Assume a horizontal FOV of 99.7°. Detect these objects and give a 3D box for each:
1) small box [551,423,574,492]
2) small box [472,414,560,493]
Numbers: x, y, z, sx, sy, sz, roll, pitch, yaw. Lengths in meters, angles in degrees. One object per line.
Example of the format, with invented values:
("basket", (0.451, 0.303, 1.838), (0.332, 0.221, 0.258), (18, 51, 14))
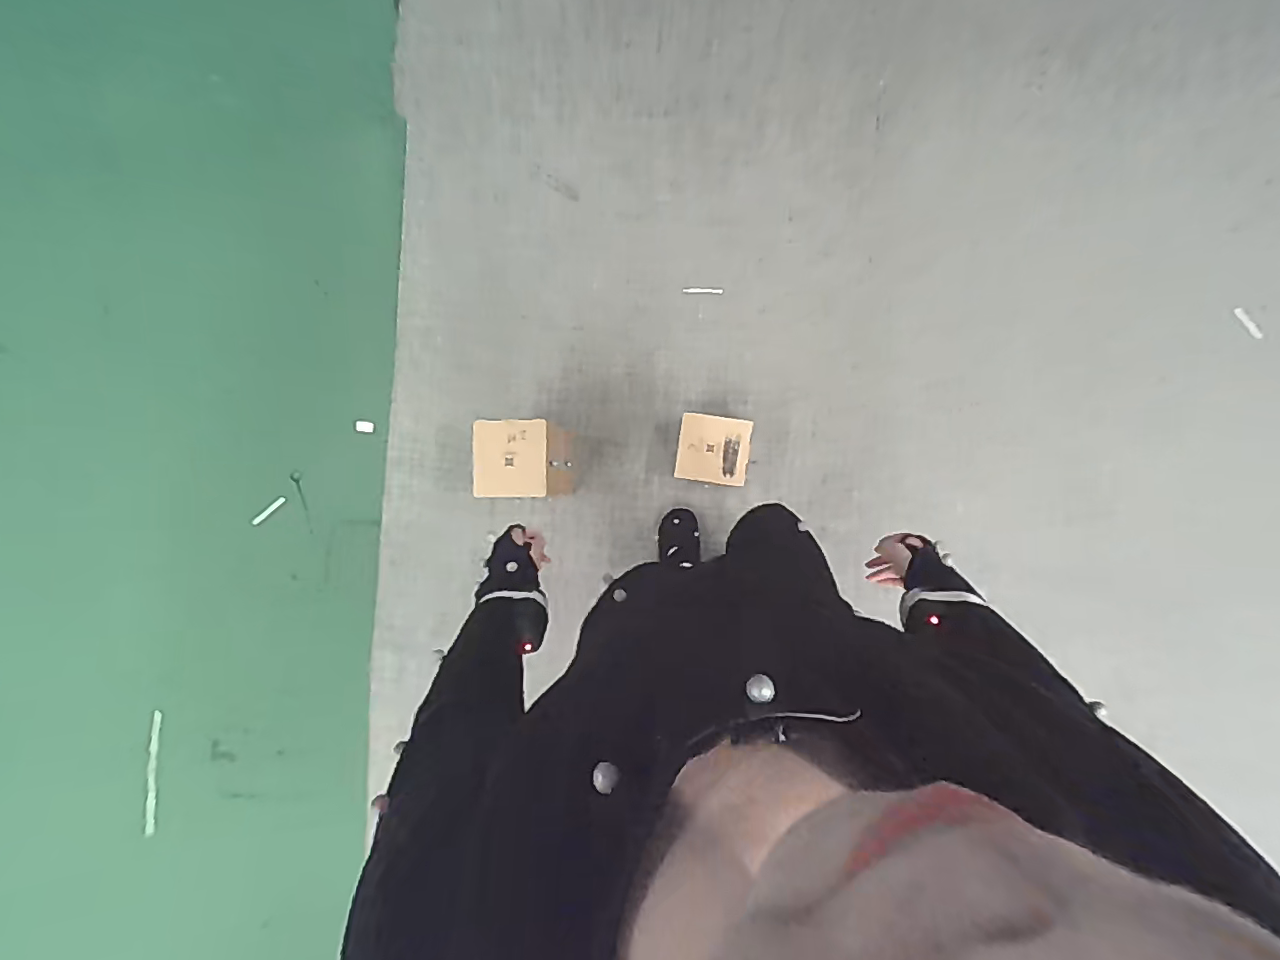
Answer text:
("small box", (-0.274, -0.059, 1.446), (0.168, 0.176, 0.179), (2, 89, 3))
("small box", (-0.288, -0.059, 1.282), (0.168, 0.176, 0.179), (1, 89, 3))
